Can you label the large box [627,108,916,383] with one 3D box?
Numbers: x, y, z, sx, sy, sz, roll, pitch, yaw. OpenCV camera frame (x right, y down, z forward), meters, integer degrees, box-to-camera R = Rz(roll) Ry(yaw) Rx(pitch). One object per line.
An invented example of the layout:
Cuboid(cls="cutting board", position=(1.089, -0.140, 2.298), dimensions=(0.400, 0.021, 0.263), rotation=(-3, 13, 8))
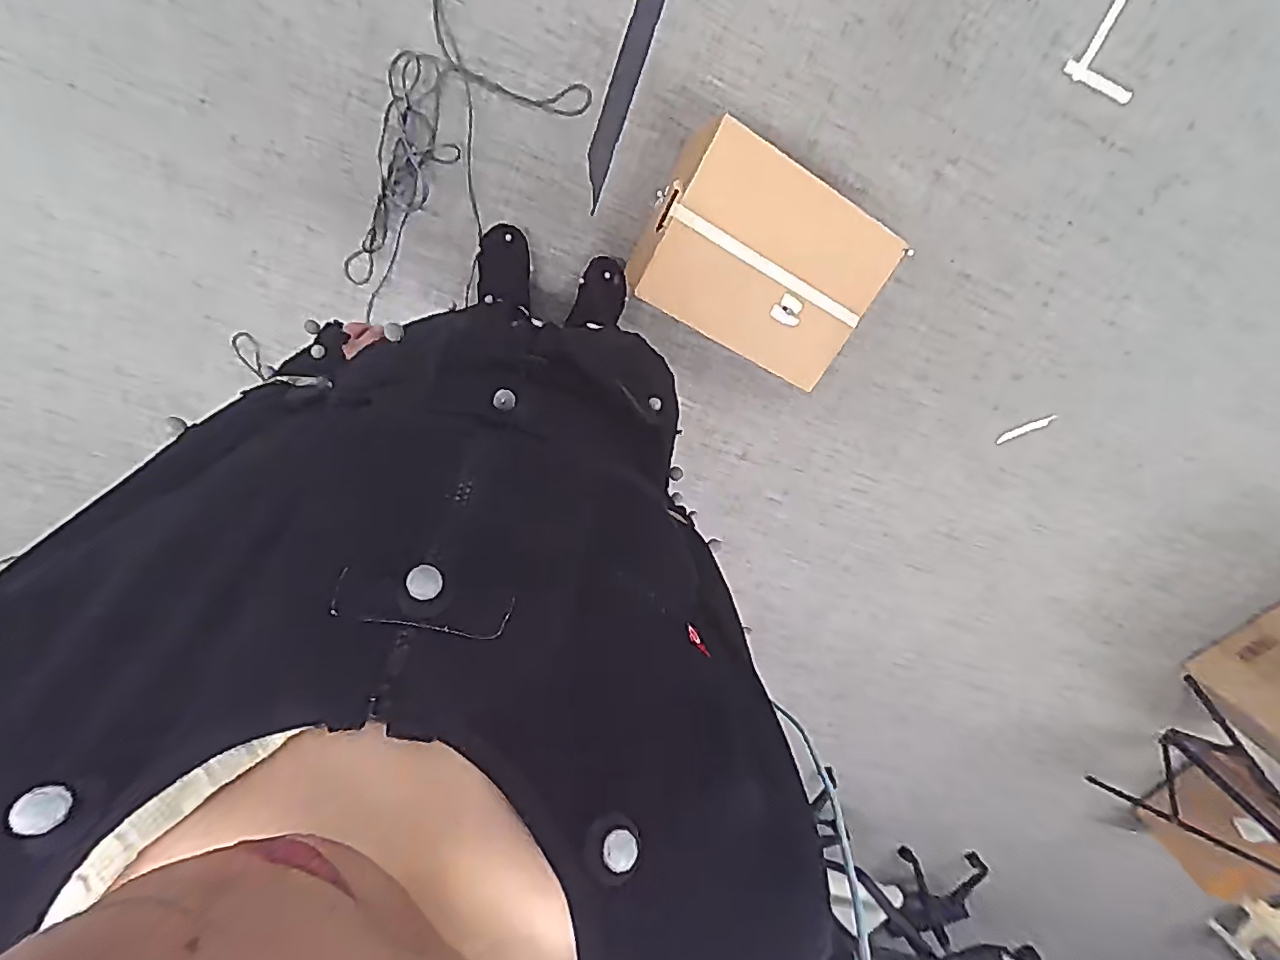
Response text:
Cuboid(cls="large box", position=(0.226, -0.449, 1.075), dimensions=(0.408, 0.320, 0.320), rotation=(24, 113, -18))
